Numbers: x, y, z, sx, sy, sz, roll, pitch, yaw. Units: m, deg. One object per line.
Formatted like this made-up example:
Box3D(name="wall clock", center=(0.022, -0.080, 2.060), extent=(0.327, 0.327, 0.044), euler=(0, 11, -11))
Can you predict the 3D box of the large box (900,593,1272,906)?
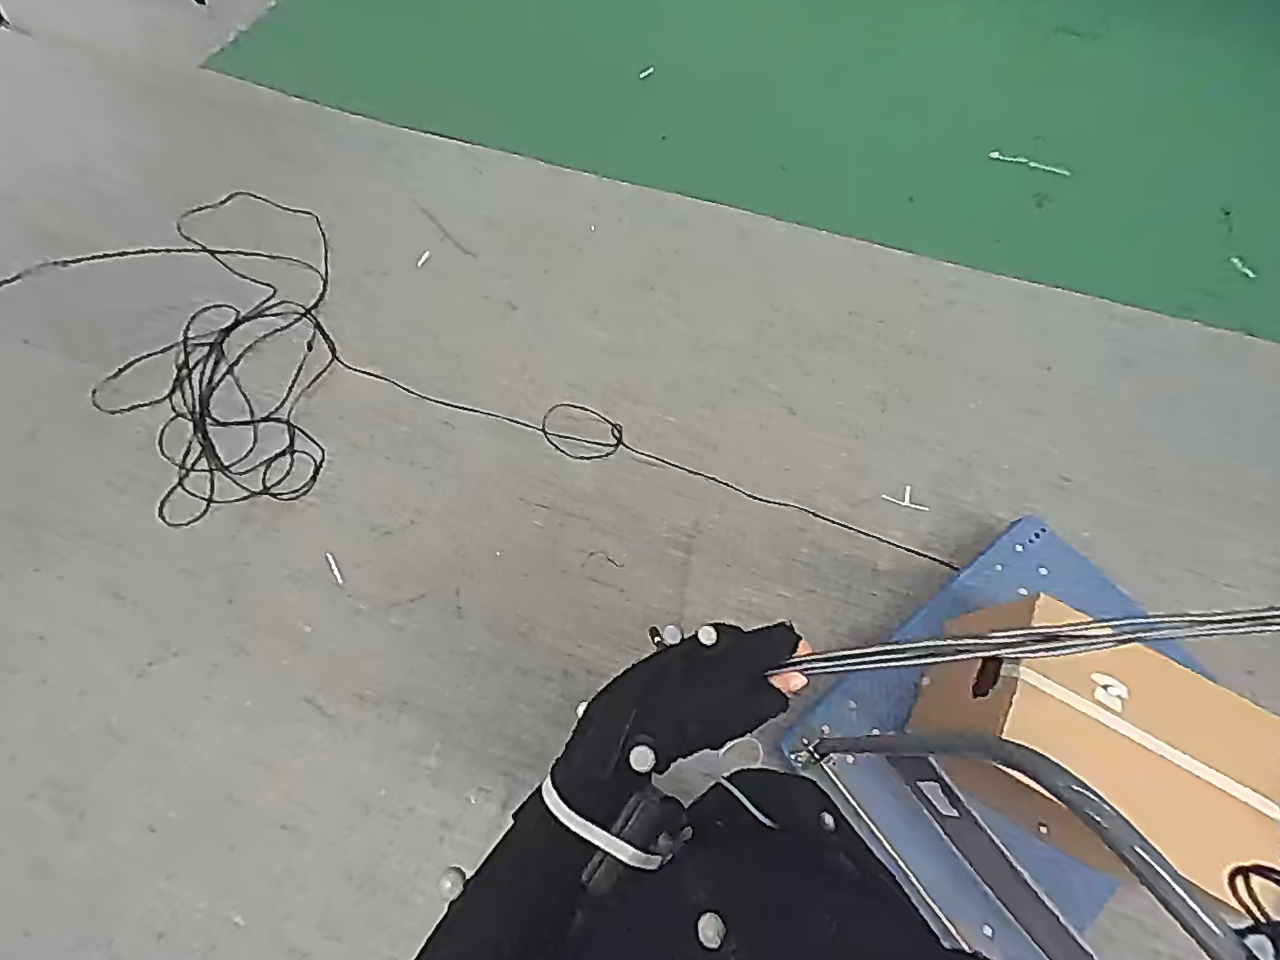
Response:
Box3D(name="large box", center=(0.788, 0.468, 1.006), extent=(0.408, 0.320, 0.320), euler=(29, 68, 11))
